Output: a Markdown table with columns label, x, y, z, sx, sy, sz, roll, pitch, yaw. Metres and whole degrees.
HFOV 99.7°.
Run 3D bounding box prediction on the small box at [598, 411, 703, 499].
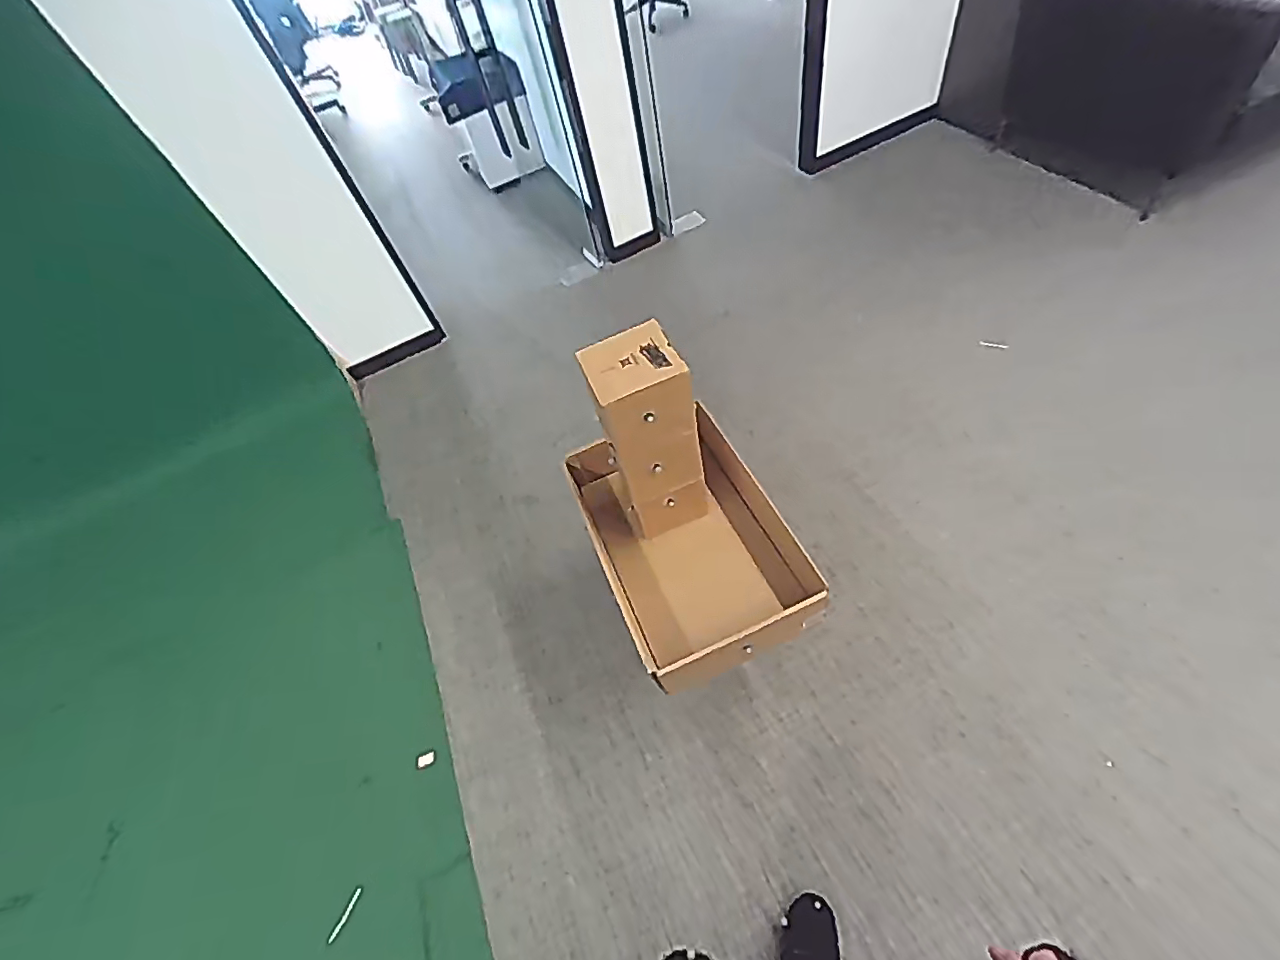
| label | x | y | z | sx | sy | sz | roll | pitch | yaw |
| --- | --- | --- | --- | --- | --- | --- | --- | --- | --- |
| small box | 0.027 | -0.083 | 1.209 | 0.179 | 0.176 | 0.168 | -23 | 55 | -4 |

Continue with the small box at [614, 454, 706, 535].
| label | x | y | z | sx | sy | sz | roll | pitch | yaw |
| --- | --- | --- | --- | --- | --- | --- | --- | --- | --- |
| small box | 0.053 | 0.012 | 1.339 | 0.179 | 0.176 | 0.168 | -21 | 54 | -5 |

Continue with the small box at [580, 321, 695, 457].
| label | x | y | z | sx | sy | sz | roll | pitch | yaw |
| --- | --- | --- | --- | --- | --- | --- | --- | --- | --- |
| small box | 0.002 | -0.177 | 1.075 | 0.179 | 0.176 | 0.168 | -23 | 55 | -4 |
